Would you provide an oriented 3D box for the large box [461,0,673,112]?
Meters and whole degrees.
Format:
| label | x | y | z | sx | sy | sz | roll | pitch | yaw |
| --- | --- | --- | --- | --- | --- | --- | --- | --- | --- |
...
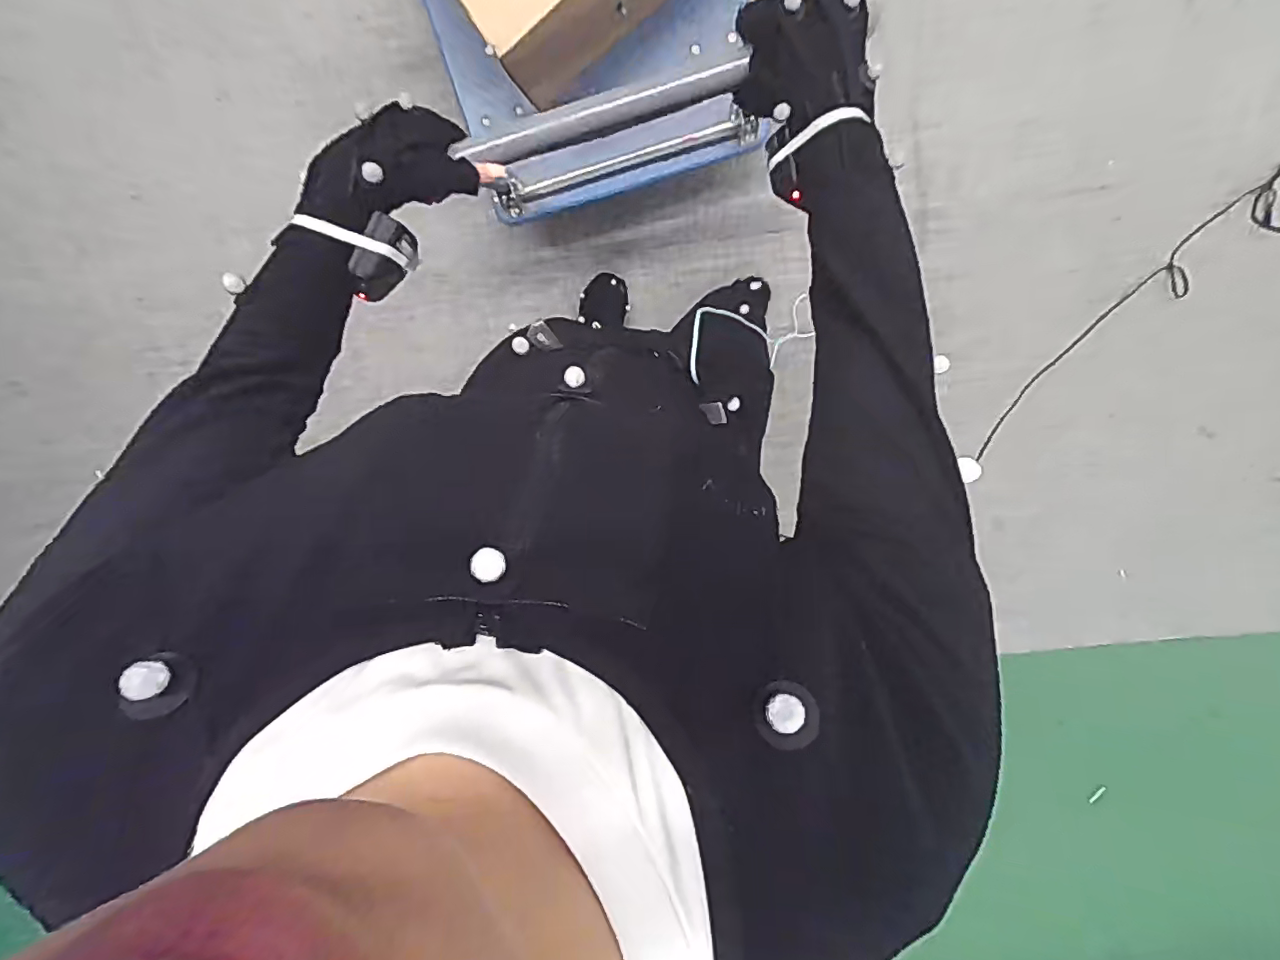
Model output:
| label | x | y | z | sx | sy | sz | roll | pitch | yaw |
| --- | --- | --- | --- | --- | --- | --- | --- | --- | --- |
| large box | -0.113 | -0.875 | 0.829 | 0.408 | 0.320 | 0.320 | -33 | 107 | 15 |
